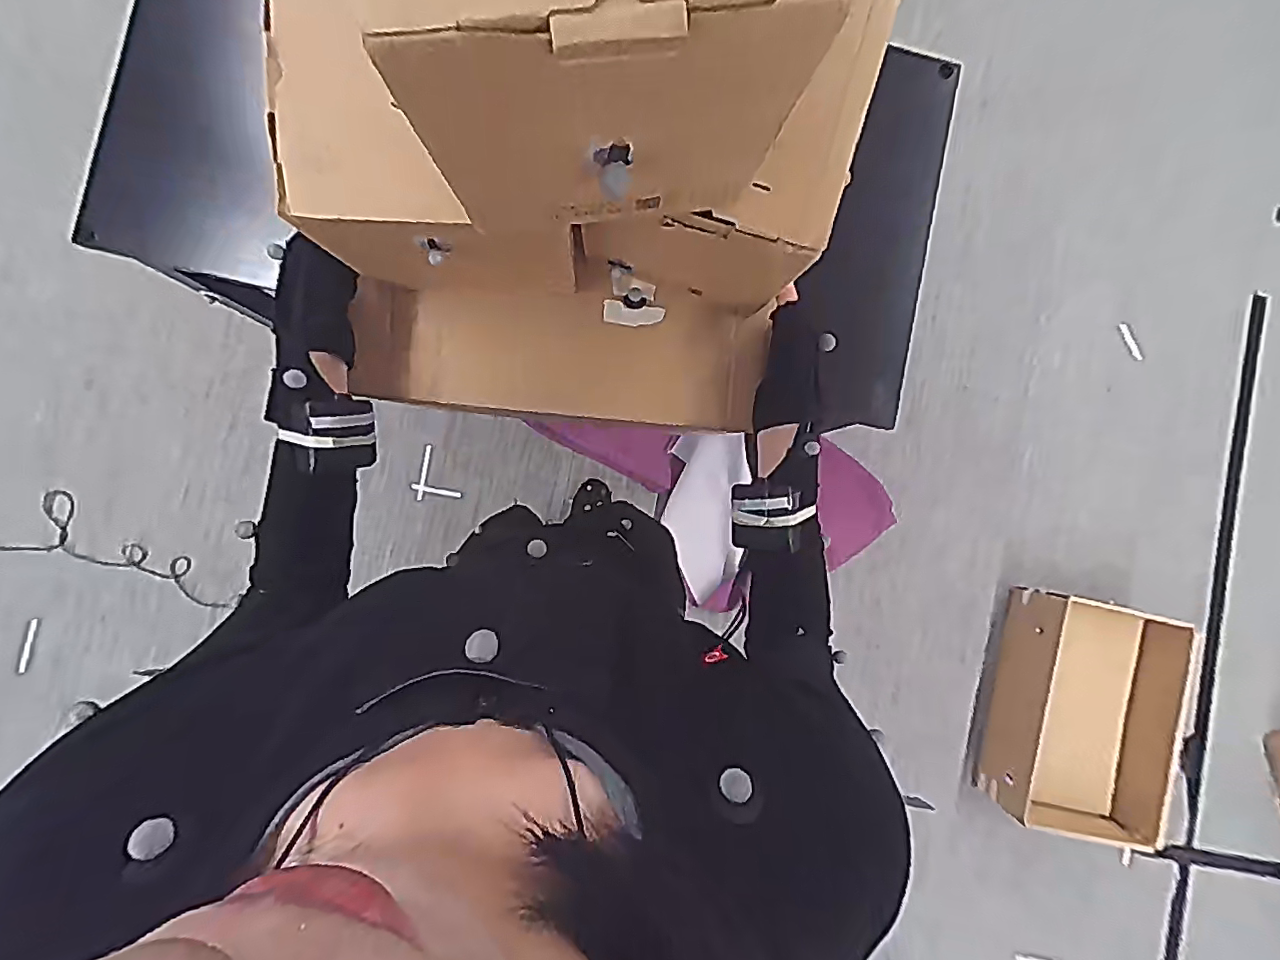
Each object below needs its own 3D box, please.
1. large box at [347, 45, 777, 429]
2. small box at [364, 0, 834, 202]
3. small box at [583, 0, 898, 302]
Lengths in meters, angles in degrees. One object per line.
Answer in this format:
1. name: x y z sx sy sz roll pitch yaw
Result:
1. large box: -0.077 -0.232 0.650 0.408 0.320 0.320 4 94 -5
2. small box: -0.021 -0.247 0.245 0.168 0.176 0.179 -8 95 -4
3. small box: 0.058 -0.259 0.414 0.168 0.176 0.179 16 91 -4
